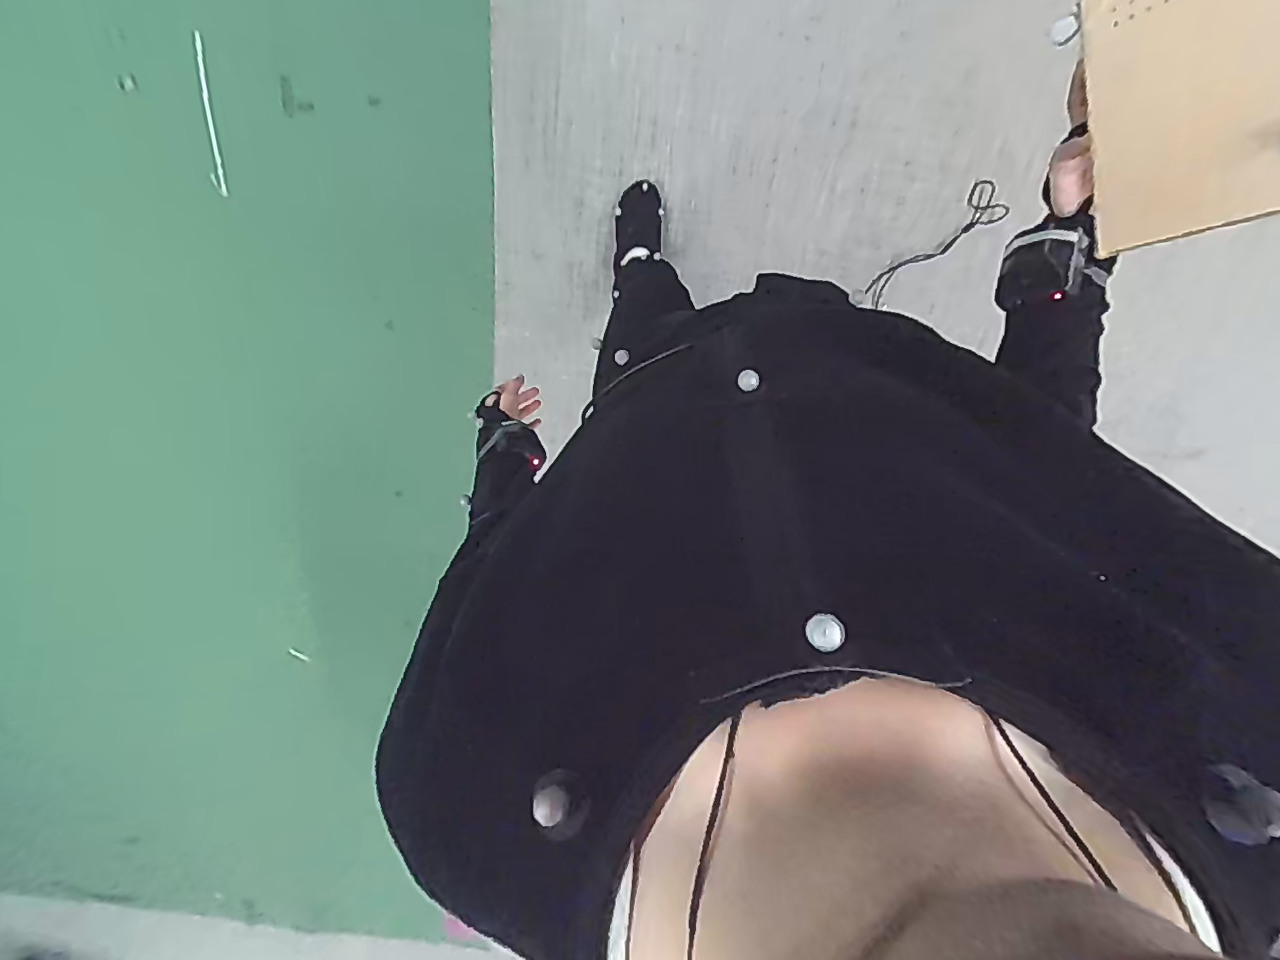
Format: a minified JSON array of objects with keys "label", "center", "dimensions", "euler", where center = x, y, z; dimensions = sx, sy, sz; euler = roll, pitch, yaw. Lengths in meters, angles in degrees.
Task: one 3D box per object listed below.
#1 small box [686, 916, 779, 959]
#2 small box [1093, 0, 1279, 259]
[{"label":"small box","center":[0.199,1.067,1.145],"dimensions":[0.179,0.176,0.168],"euler":[6,112,-1]},{"label":"small box","center":[0.365,-0.261,0.294],"dimensions":[0.179,0.168,0.176],"euler":[-2,135,42]}]
